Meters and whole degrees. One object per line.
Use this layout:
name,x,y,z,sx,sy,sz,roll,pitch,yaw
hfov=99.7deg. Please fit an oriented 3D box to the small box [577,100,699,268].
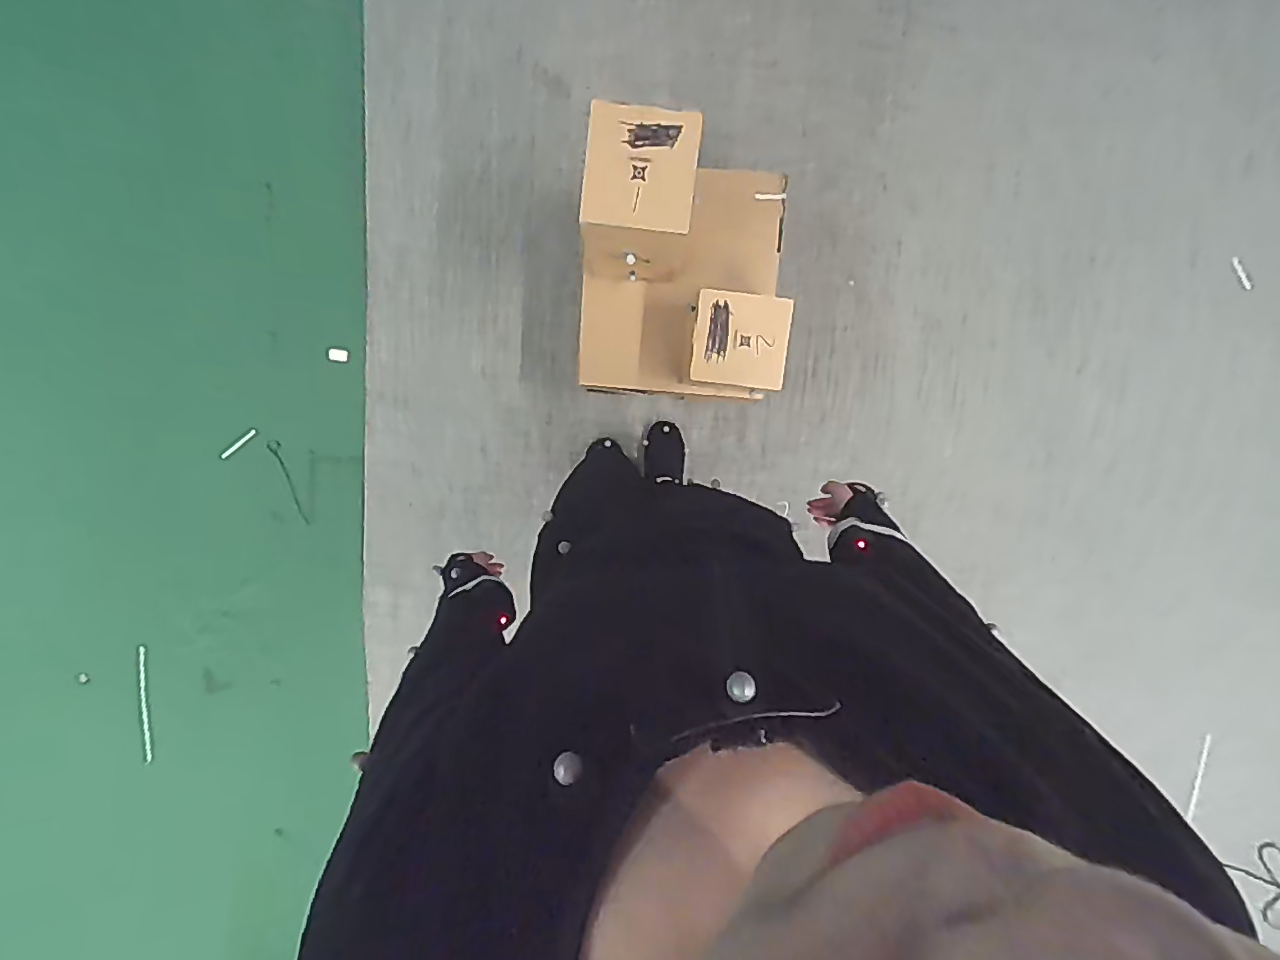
small box,-0.005,-0.464,0.872,0.168,0.176,0.179,6,95,0

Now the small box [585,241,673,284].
small box,-0.012,-0.495,1.035,0.168,0.176,0.179,4,95,0
